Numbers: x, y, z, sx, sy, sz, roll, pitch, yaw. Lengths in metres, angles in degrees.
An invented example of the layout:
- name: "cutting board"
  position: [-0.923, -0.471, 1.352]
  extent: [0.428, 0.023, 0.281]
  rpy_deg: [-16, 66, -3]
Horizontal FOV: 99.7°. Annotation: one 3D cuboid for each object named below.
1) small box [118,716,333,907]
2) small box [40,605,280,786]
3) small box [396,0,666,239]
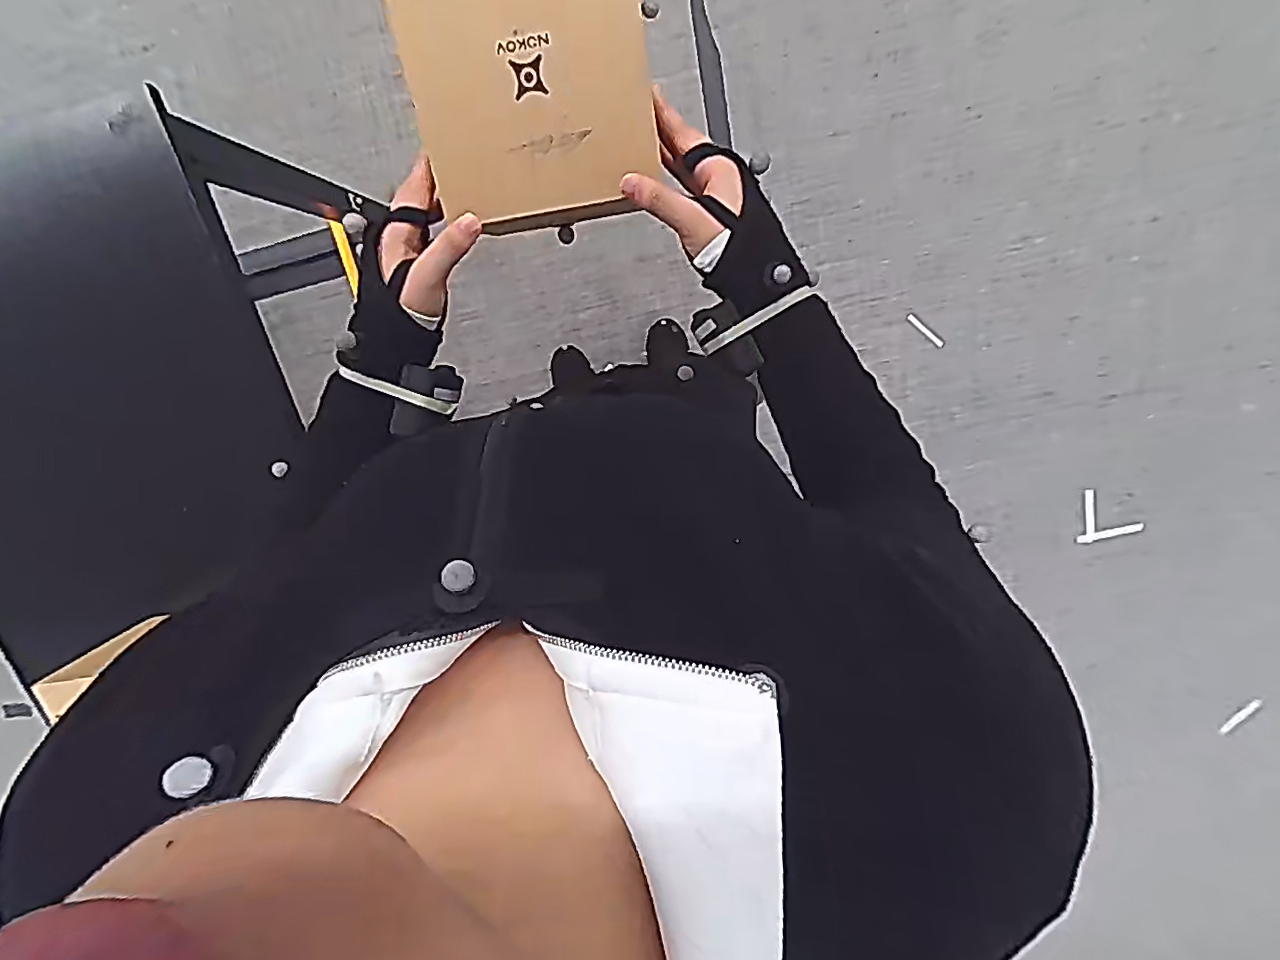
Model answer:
- name: "small box"
  position: [-0.617, 0.502, 0.833]
  extent: [0.168, 0.176, 0.179]
  rpy_deg: [-14, 103, 6]
- name: "small box"
  position: [-0.664, 0.299, 0.780]
  extent: [0.179, 0.176, 0.168]
  rpy_deg: [-11, 105, 5]
- name: "small box"
  position: [-0.073, -0.308, 0.448]
  extent: [0.168, 0.176, 0.179]
  rpy_deg: [-8, 113, 4]
